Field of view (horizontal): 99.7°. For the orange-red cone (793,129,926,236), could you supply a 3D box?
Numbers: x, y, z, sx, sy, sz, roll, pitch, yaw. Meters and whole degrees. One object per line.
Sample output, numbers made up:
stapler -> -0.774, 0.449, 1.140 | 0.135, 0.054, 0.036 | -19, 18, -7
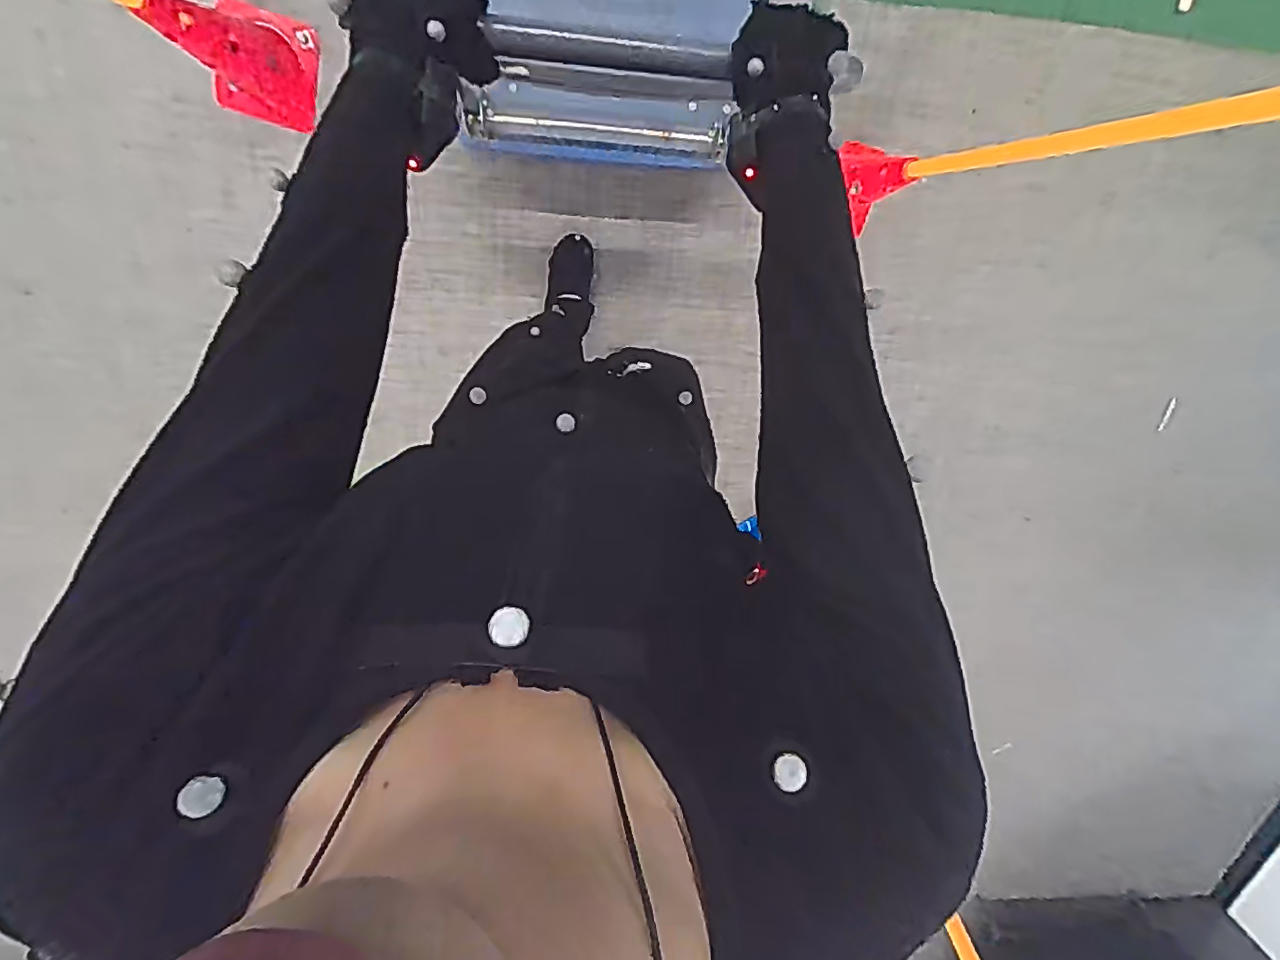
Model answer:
orange-red cone -> 0.495, -0.642, 1.144 | 0.198, 0.360, 0.199 | 12, 113, -9
